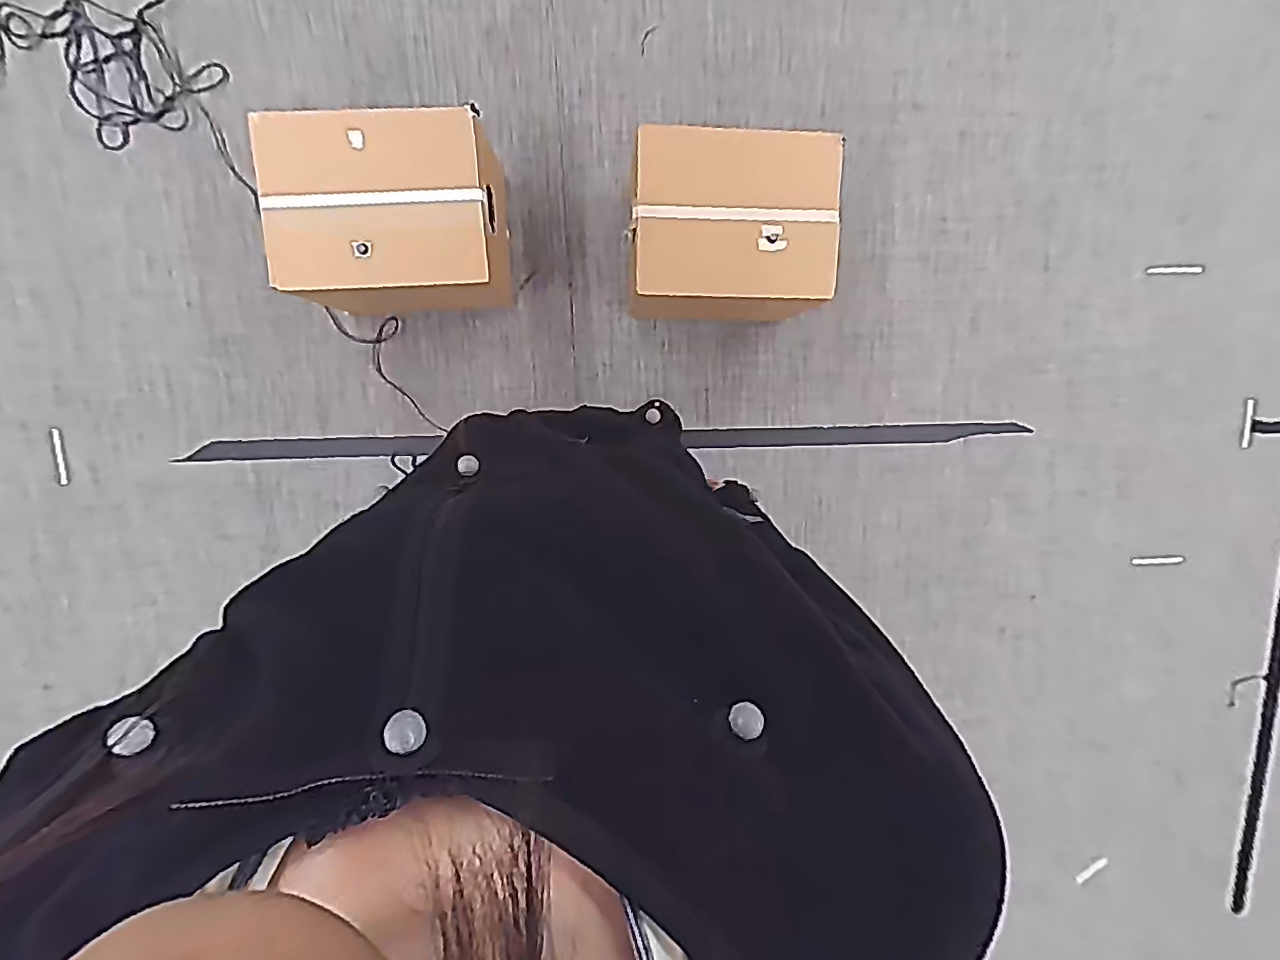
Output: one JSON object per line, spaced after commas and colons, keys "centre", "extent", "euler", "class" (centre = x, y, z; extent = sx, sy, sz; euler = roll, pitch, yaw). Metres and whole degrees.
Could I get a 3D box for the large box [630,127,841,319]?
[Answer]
{"centre": [0.185, -0.545, 1.215], "extent": [0.408, 0.320, 0.320], "euler": [0, 99, -5], "class": "large box"}
